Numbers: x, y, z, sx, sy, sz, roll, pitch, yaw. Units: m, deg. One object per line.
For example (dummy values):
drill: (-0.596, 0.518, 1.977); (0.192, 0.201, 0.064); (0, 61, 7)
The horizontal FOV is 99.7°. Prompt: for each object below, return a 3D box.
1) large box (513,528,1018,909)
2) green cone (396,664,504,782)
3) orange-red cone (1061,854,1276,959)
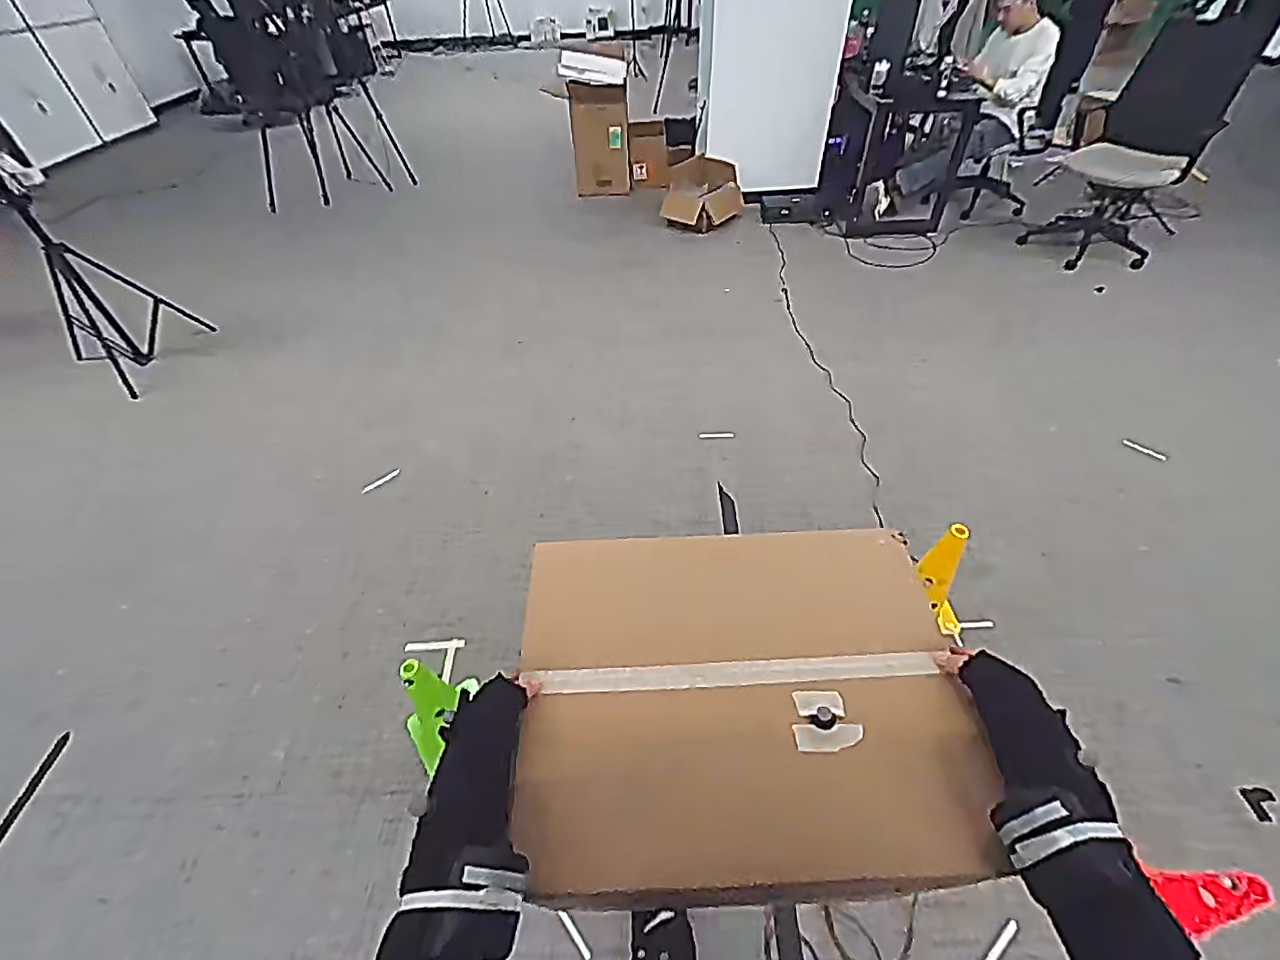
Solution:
large box: (0.093, 0.277, 0.624); (0.408, 0.320, 0.320); (-2, 50, -1)
green cone: (-0.493, 0.533, 1.297); (0.202, 0.368, 0.200); (-32, 51, -23)
orange-red cone: (0.995, 0.765, 0.986); (0.198, 0.360, 0.199); (-3, 44, -1)
